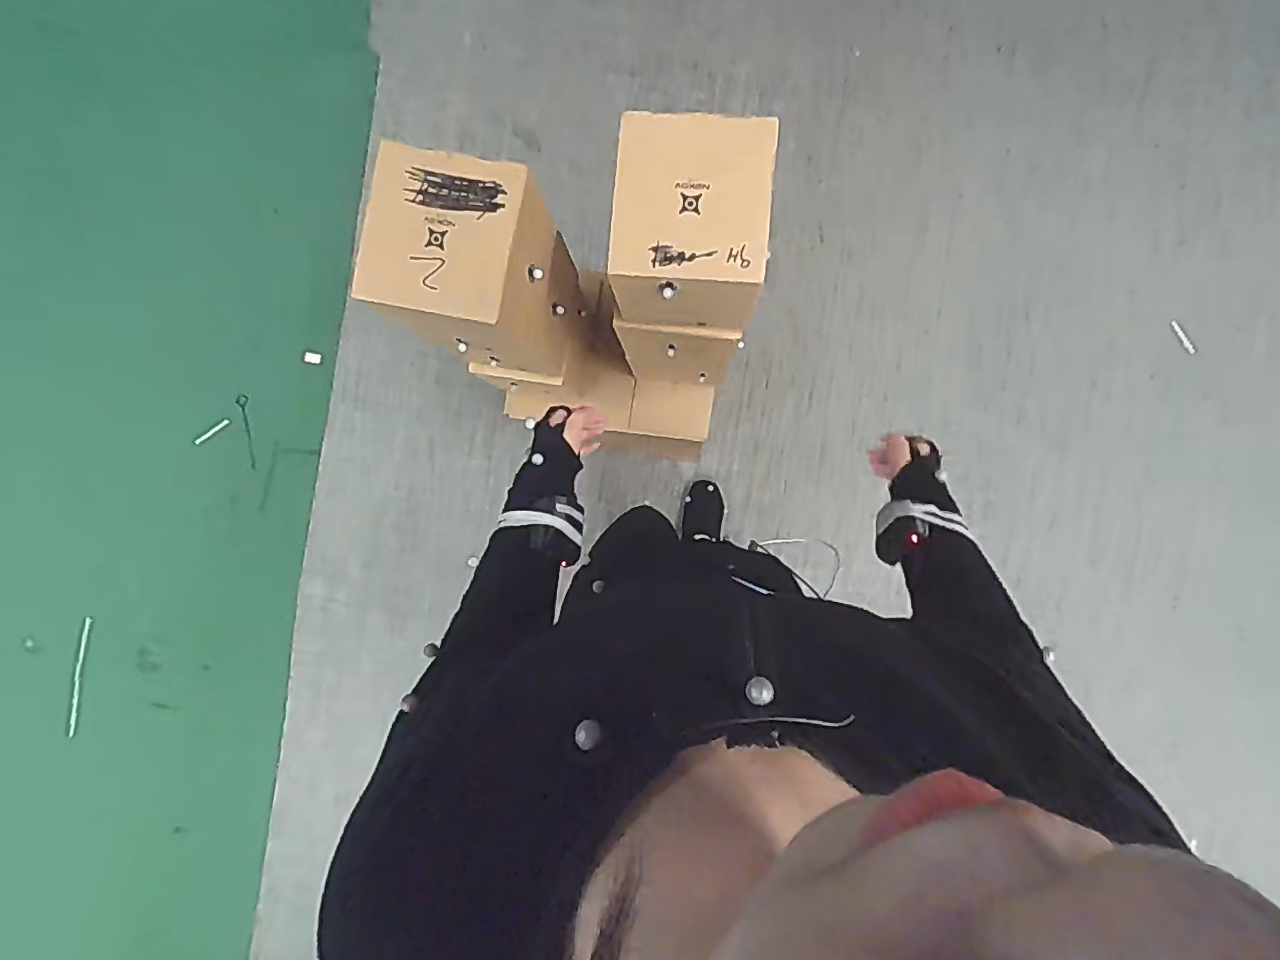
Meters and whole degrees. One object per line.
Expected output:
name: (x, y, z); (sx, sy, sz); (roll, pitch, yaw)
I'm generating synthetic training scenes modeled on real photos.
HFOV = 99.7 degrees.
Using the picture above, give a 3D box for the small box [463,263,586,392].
small box: (-0.200, -0.266, 0.982); (0.168, 0.176, 0.179); (10, 90, 2)

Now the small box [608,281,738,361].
small box: (0.060, -0.281, 0.804); (0.179, 0.176, 0.168); (9, 90, 5)

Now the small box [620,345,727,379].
small box: (0.069, -0.282, 0.967); (0.179, 0.176, 0.168); (8, 90, 5)

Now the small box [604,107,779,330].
small box: (0.058, -0.294, 0.639); (0.168, 0.176, 0.179); (6, 89, 5)
